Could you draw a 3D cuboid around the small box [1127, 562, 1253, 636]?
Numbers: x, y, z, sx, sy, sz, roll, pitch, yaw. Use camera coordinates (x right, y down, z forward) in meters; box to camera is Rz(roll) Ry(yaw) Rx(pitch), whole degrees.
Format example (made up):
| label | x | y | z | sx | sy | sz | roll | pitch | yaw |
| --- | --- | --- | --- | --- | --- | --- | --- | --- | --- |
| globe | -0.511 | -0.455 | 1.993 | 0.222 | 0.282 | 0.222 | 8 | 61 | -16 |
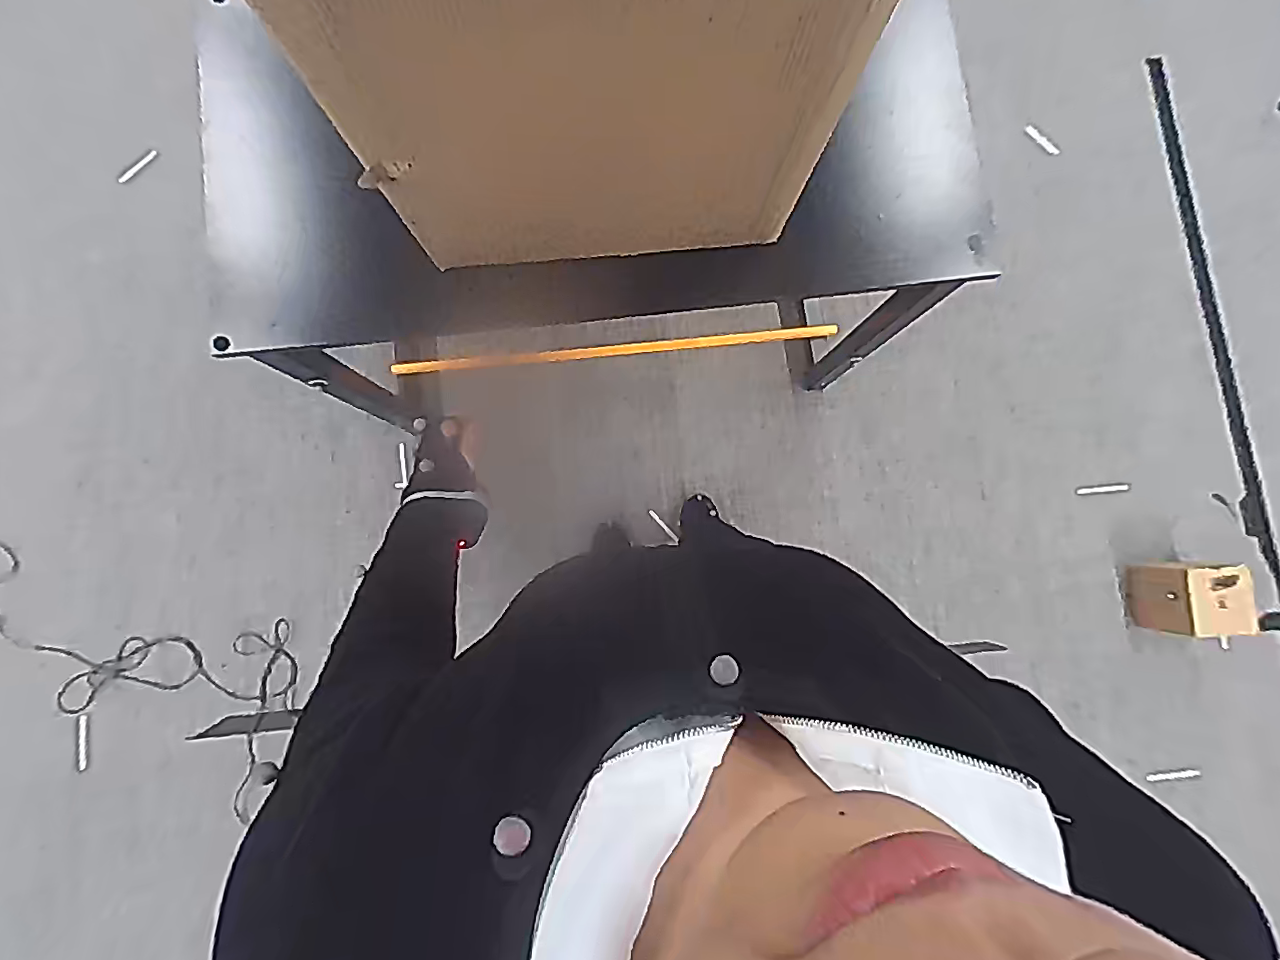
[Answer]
| label | x | y | z | sx | sy | sz | roll | pitch | yaw |
| --- | --- | --- | --- | --- | --- | --- | --- | --- | --- |
| small box | 1.472 | 0.314 | 1.460 | 0.168 | 0.176 | 0.179 | -3 | 85 | -2 |
